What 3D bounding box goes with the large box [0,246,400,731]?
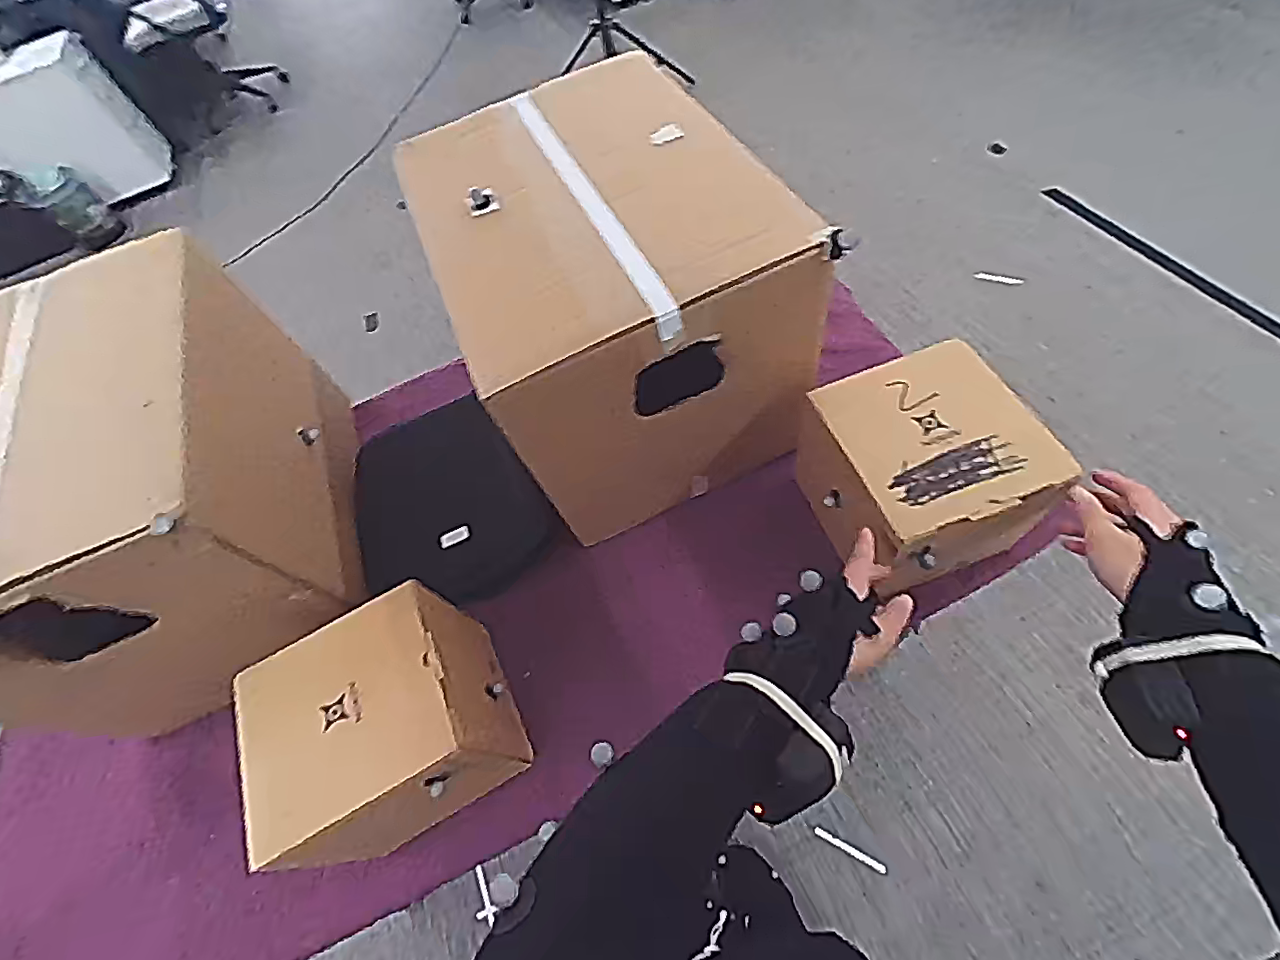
[{"bbox_3d":[-0.536,0.020,0.629,0.320,0.320,0.408,-26,62,-5],"label":"large box"}]
